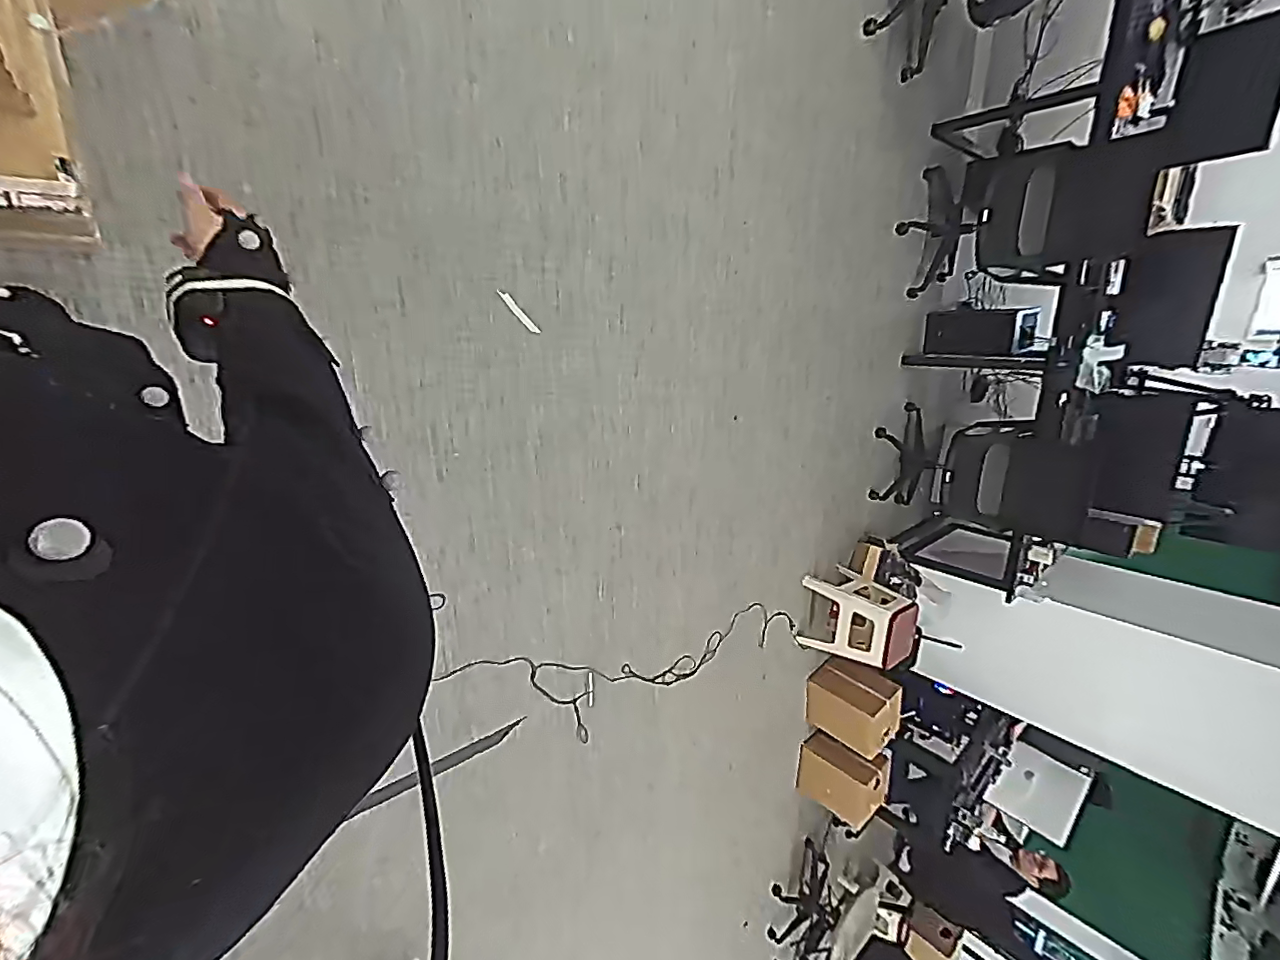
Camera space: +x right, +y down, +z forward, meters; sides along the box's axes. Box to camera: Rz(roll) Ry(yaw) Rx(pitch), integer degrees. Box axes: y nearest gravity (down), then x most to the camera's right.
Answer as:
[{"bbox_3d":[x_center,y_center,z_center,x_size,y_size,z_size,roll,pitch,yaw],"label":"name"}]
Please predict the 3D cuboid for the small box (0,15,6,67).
[{"bbox_3d":[-0.534,-0.381,0.328,0.179,0.176,0.168,-10,110,-42],"label":"small box"}]

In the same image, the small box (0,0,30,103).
[{"bbox_3d":[-0.642,-0.442,0.438,0.179,0.176,0.168,-6,108,-44],"label":"small box"}]
